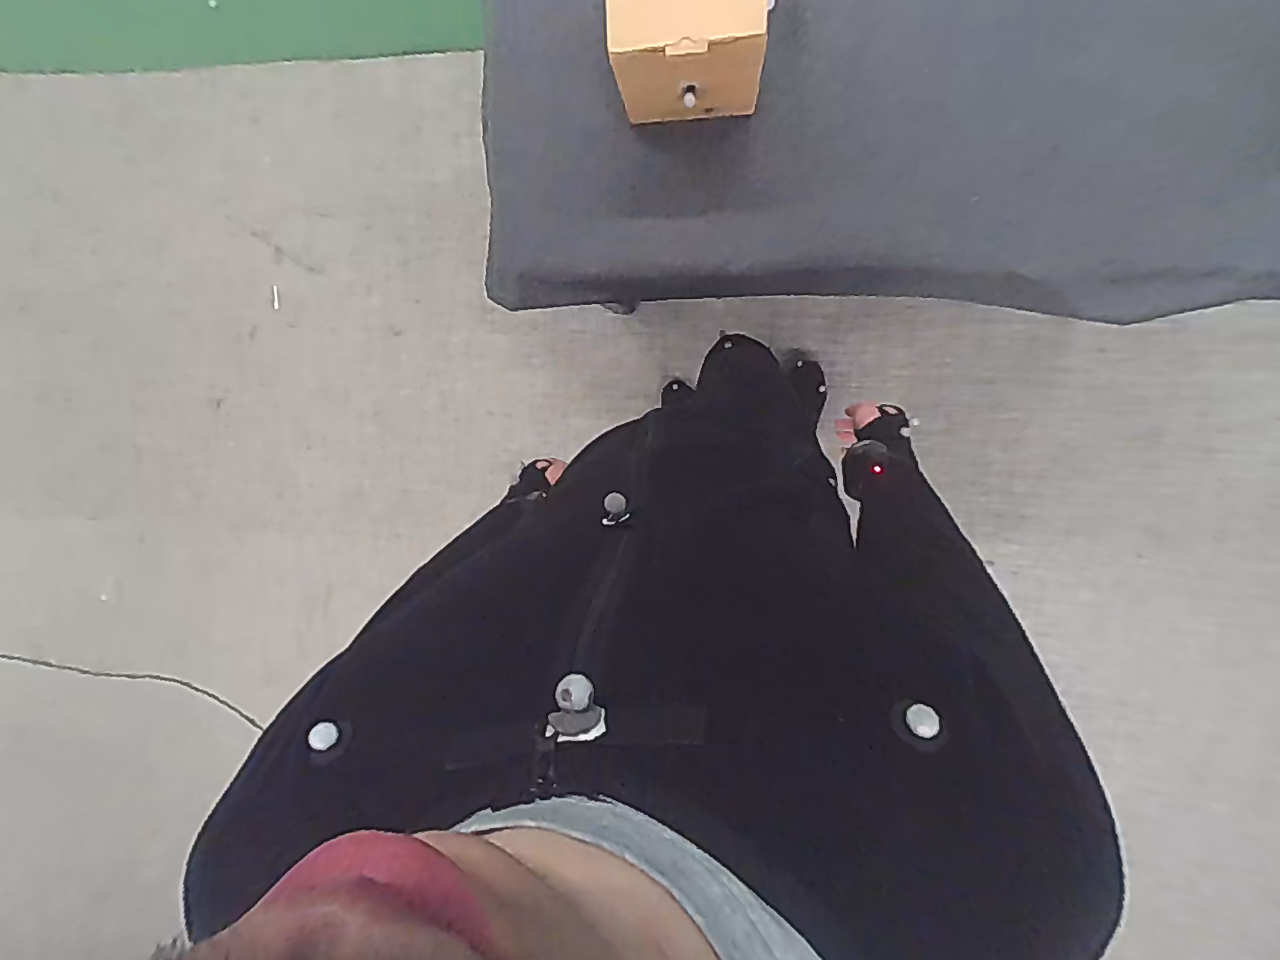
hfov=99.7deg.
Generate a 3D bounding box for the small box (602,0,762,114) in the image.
[{"bbox_3d":[0.052,-0.546,0.616,0.168,0.176,0.179,0,101,7],"label":"small box"}]
